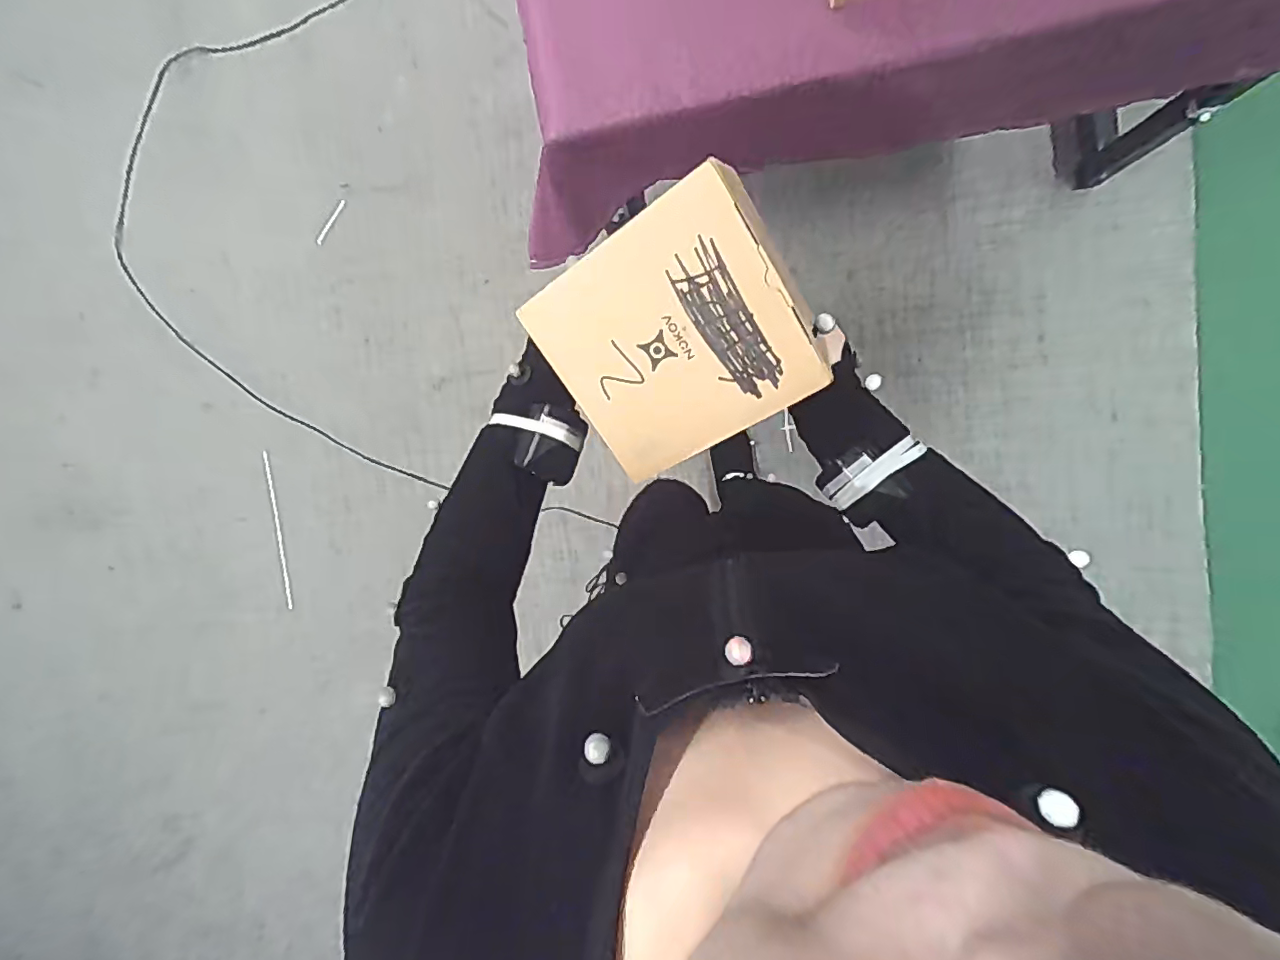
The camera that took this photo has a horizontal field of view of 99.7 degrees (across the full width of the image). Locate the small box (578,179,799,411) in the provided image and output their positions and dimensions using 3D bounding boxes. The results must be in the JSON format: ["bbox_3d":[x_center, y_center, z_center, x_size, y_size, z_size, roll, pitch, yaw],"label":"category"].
[{"bbox_3d":[0.065,-0.205,0.606,0.179,0.176,0.168,-24,108,24],"label":"small box"}]
